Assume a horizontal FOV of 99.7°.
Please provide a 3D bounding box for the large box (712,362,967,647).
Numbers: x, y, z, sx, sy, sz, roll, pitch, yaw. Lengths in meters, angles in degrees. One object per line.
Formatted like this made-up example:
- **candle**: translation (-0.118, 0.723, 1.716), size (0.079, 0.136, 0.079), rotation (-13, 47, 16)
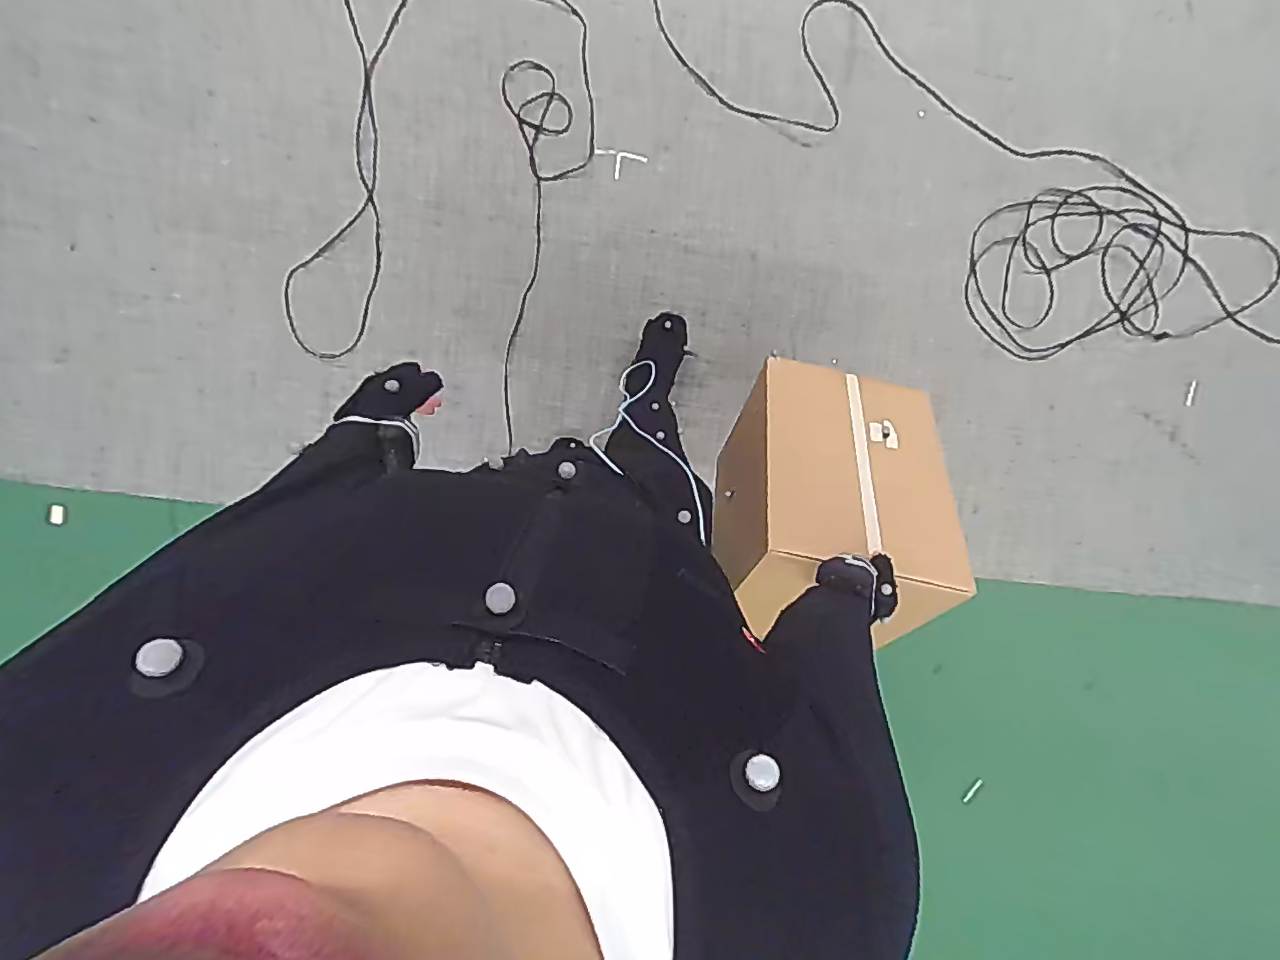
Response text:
- **large box**: translation (0.329, 0.053, 1.014), size (0.320, 0.320, 0.408), rotation (13, 54, -5)
